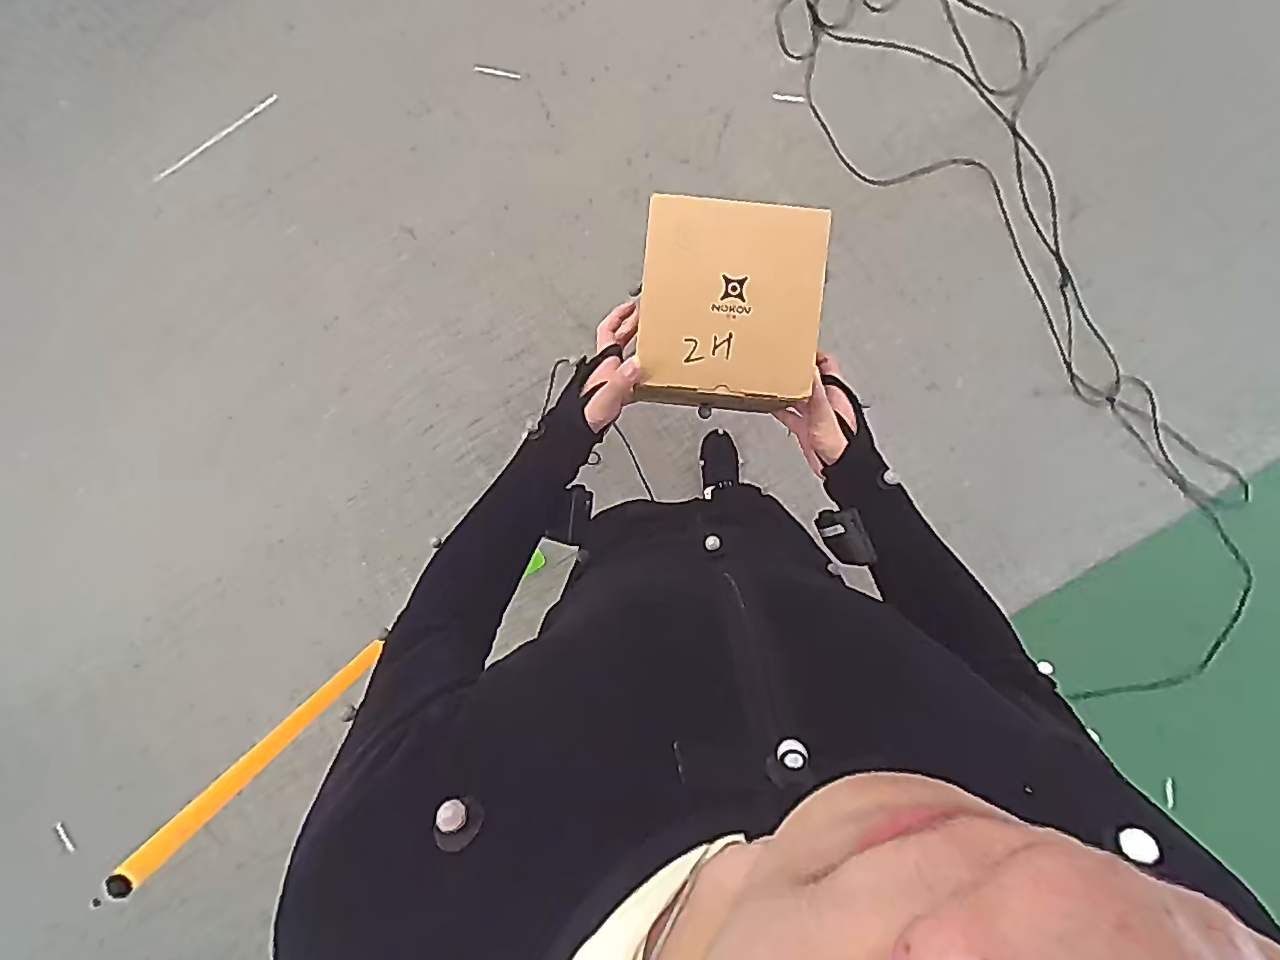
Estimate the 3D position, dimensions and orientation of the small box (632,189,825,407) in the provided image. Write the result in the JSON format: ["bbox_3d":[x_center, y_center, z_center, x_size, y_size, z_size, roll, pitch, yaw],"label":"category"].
[{"bbox_3d":[0.081,-0.178,0.580,0.168,0.176,0.179,6,95,0],"label":"small box"}]

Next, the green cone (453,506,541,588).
[{"bbox_3d":[-0.433,0.209,1.484,0.202,0.368,0.200,-30,90,1],"label":"green cone"}]
